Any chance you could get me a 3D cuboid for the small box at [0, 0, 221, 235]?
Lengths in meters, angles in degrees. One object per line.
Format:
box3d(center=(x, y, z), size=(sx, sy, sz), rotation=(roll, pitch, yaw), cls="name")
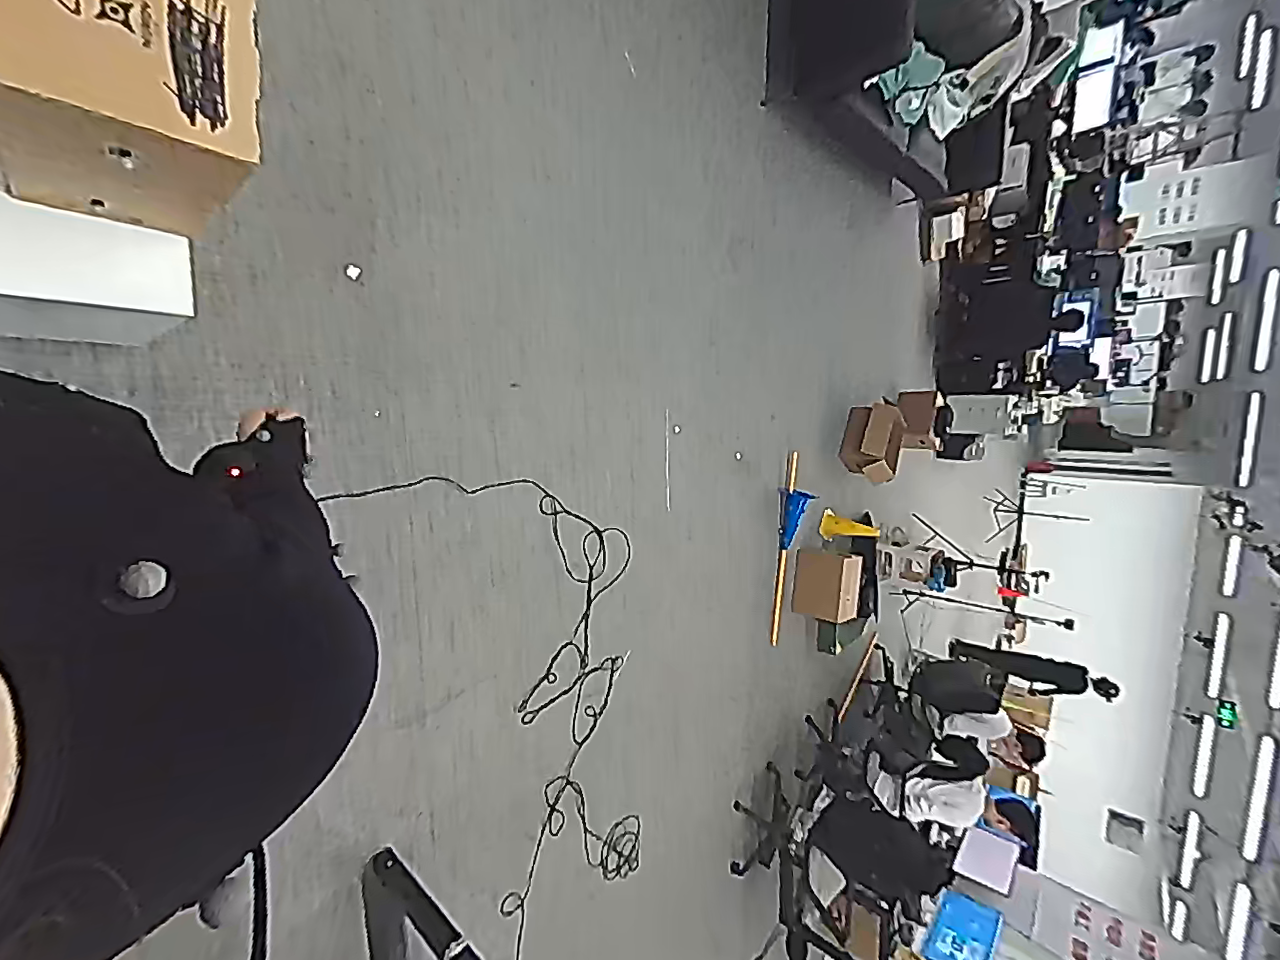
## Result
box3d(center=(-0.588, -0.400, 0.602), size=(0.168, 0.176, 0.179), rotation=(-4, 98, -47), cls="small box")
